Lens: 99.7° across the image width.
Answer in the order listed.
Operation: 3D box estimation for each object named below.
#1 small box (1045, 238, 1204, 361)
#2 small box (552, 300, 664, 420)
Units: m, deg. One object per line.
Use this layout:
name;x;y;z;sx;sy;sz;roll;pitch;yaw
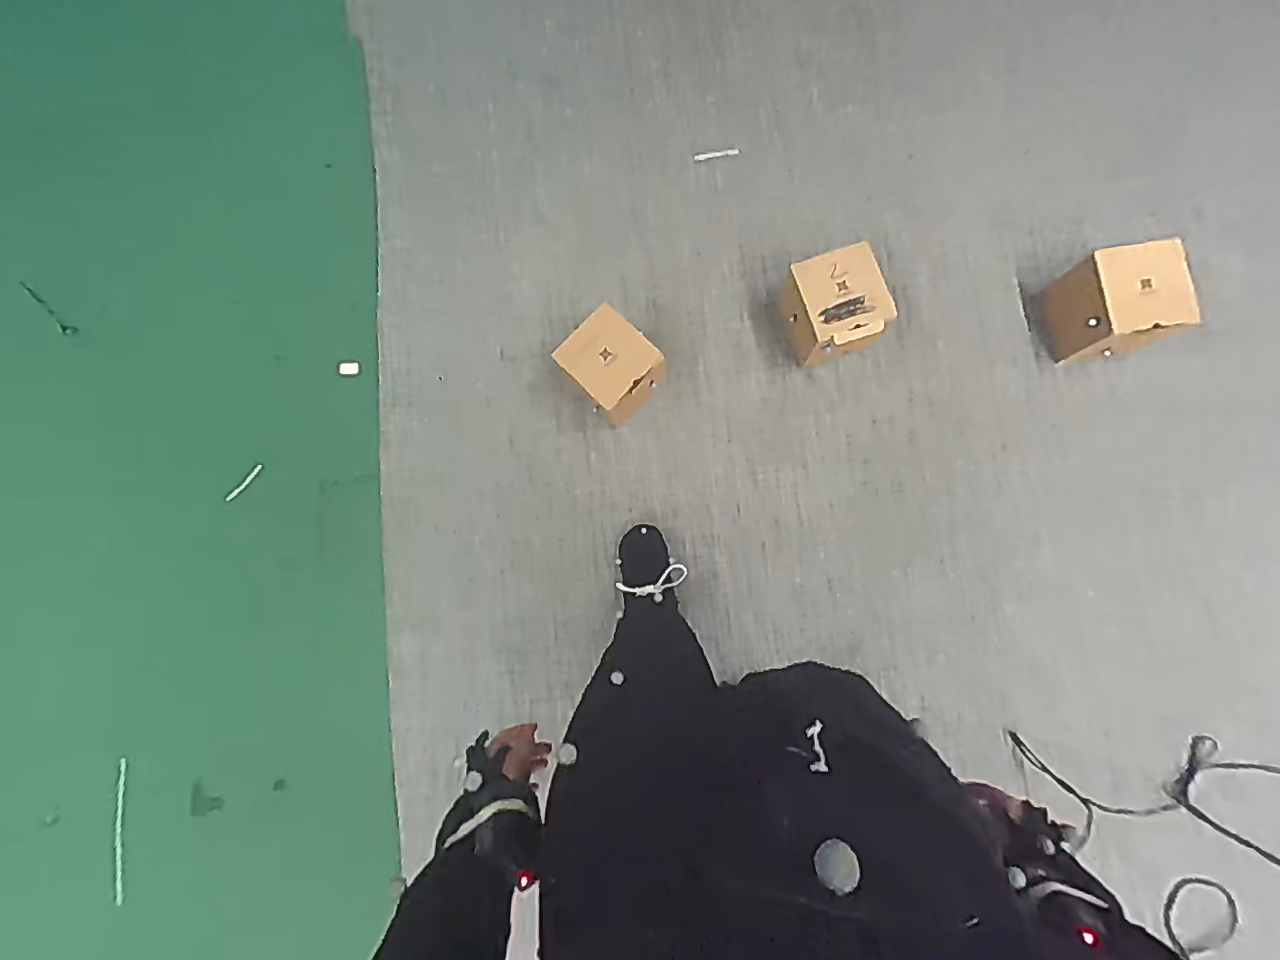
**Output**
small box;0.985;-0.365;1.120;0.168;0.176;0.179;-8;83;3
small box;-0.059;-0.250;1.183;0.179;0.176;0.168;44;87;9
